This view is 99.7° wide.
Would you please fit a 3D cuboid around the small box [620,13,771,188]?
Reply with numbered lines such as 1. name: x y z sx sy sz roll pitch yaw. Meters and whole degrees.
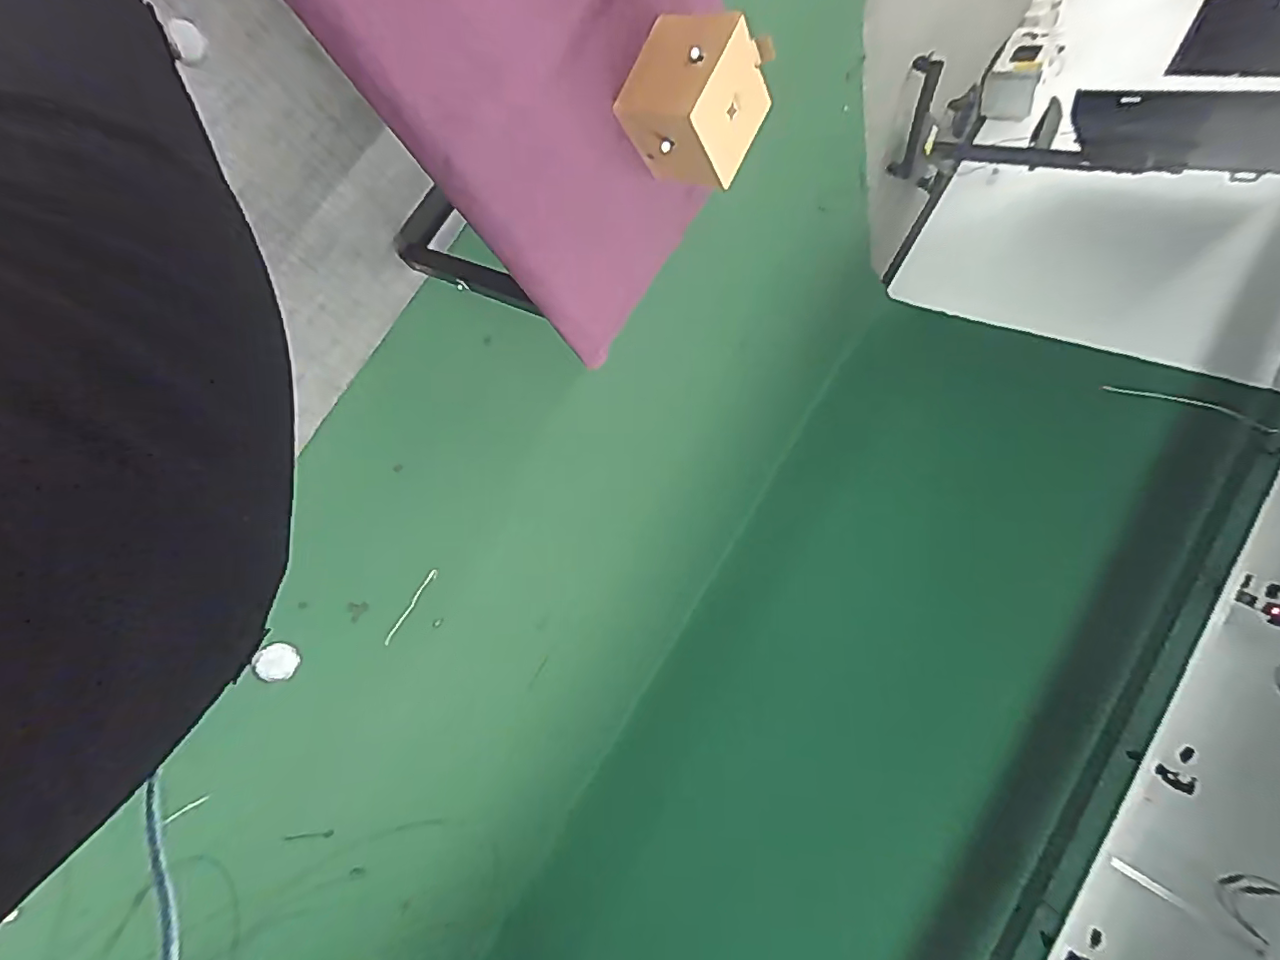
1. small box: 0.089 -0.632 0.914 0.168 0.176 0.179 26 92 -58
